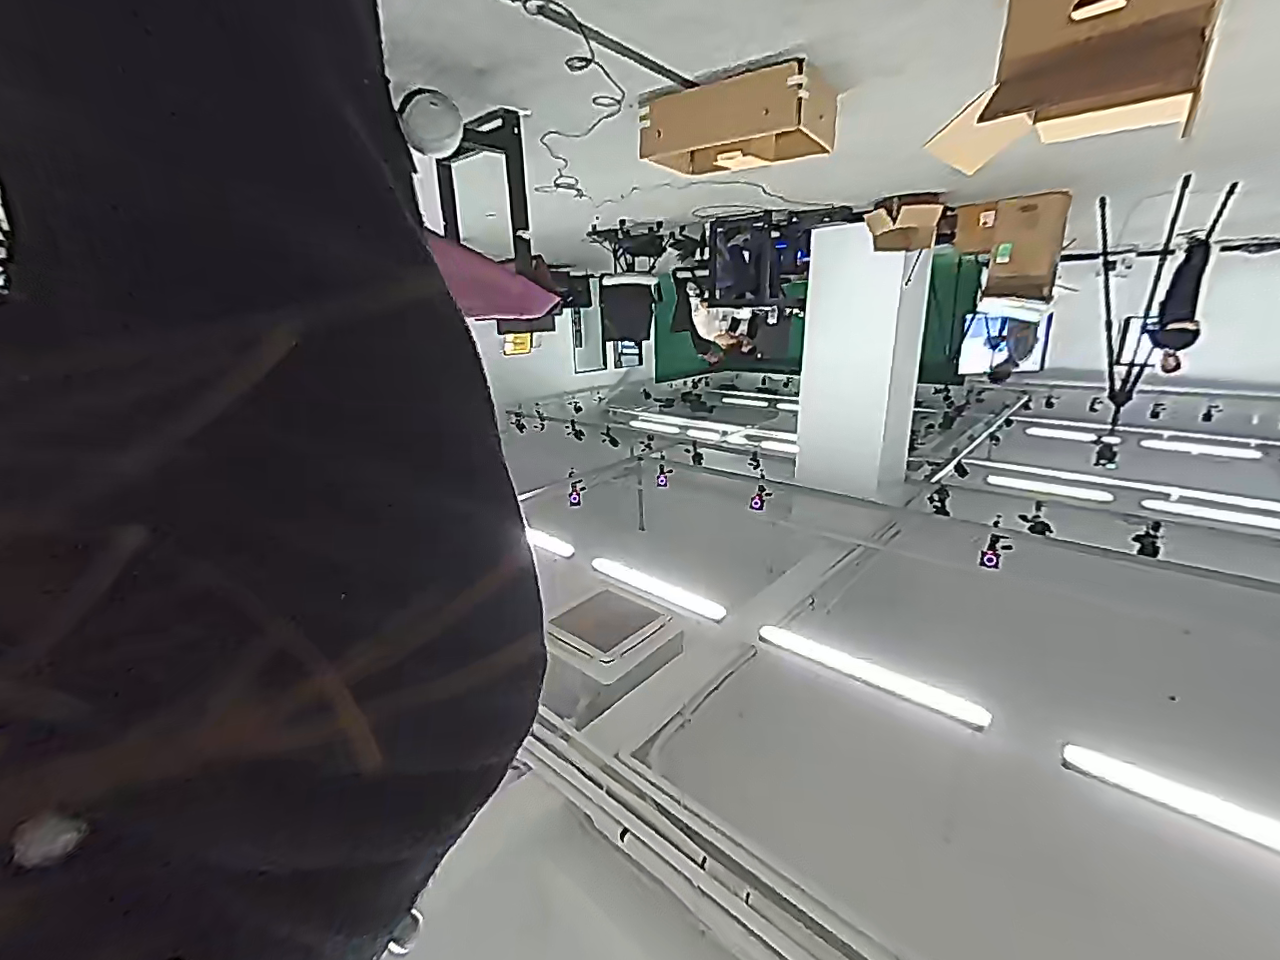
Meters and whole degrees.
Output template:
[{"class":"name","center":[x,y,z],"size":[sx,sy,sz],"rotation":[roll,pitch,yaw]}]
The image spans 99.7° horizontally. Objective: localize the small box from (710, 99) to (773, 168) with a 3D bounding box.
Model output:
[{"class":"small box","center":[0.366,-1.249,1.950],"size":[0.168,0.176,0.179],"rotation":[15,-156,38]}]
